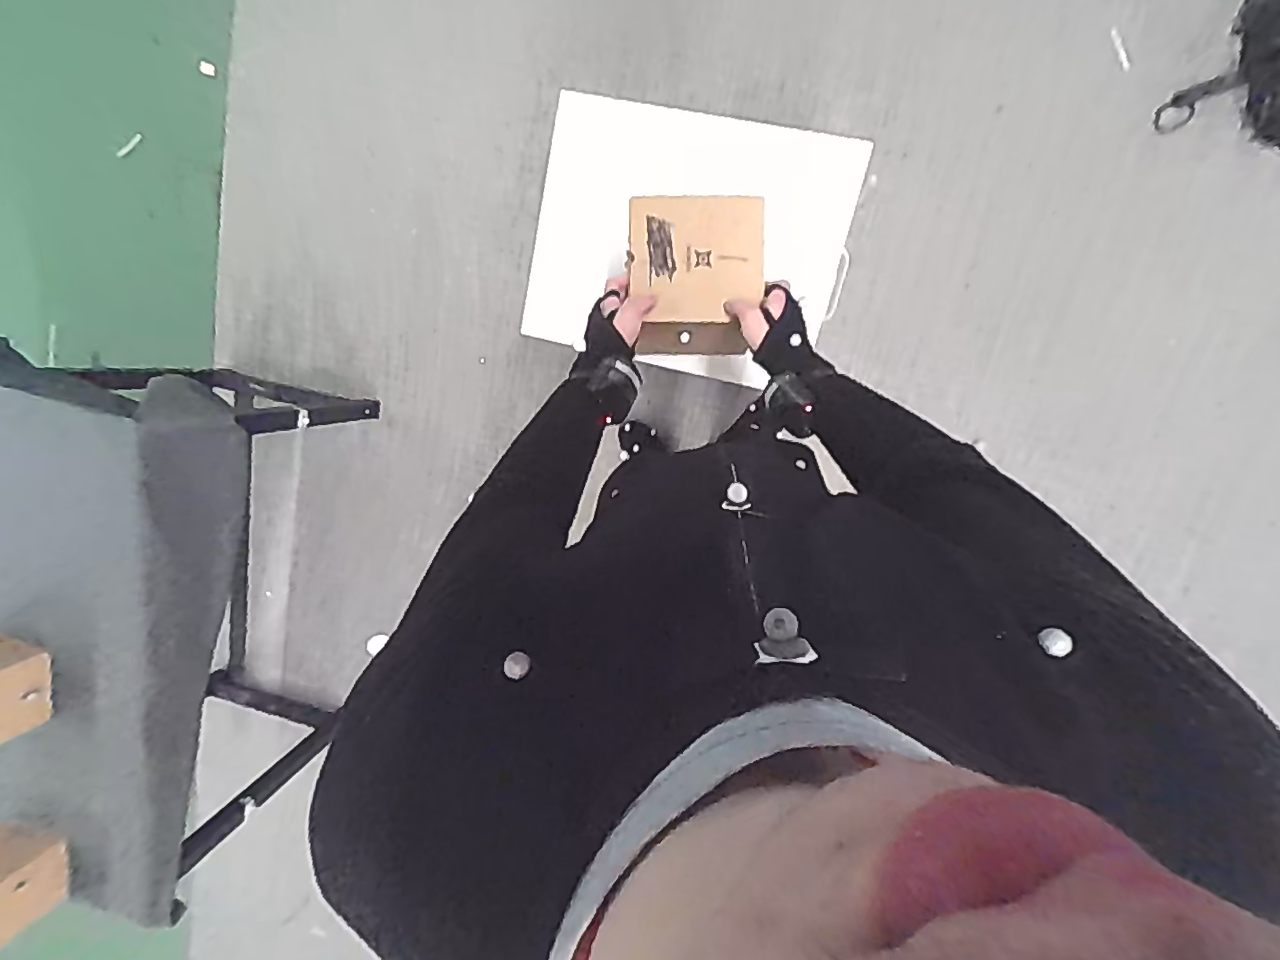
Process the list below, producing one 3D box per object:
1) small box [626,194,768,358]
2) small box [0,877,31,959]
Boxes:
[{"bbox_3d":[0.071,-0.269,0.745,0.179,0.176,0.168,-1,88,-1],"label":"small box"},{"bbox_3d":[-1.422,0.946,1.110,0.168,0.176,0.179,12,103,7],"label":"small box"}]
